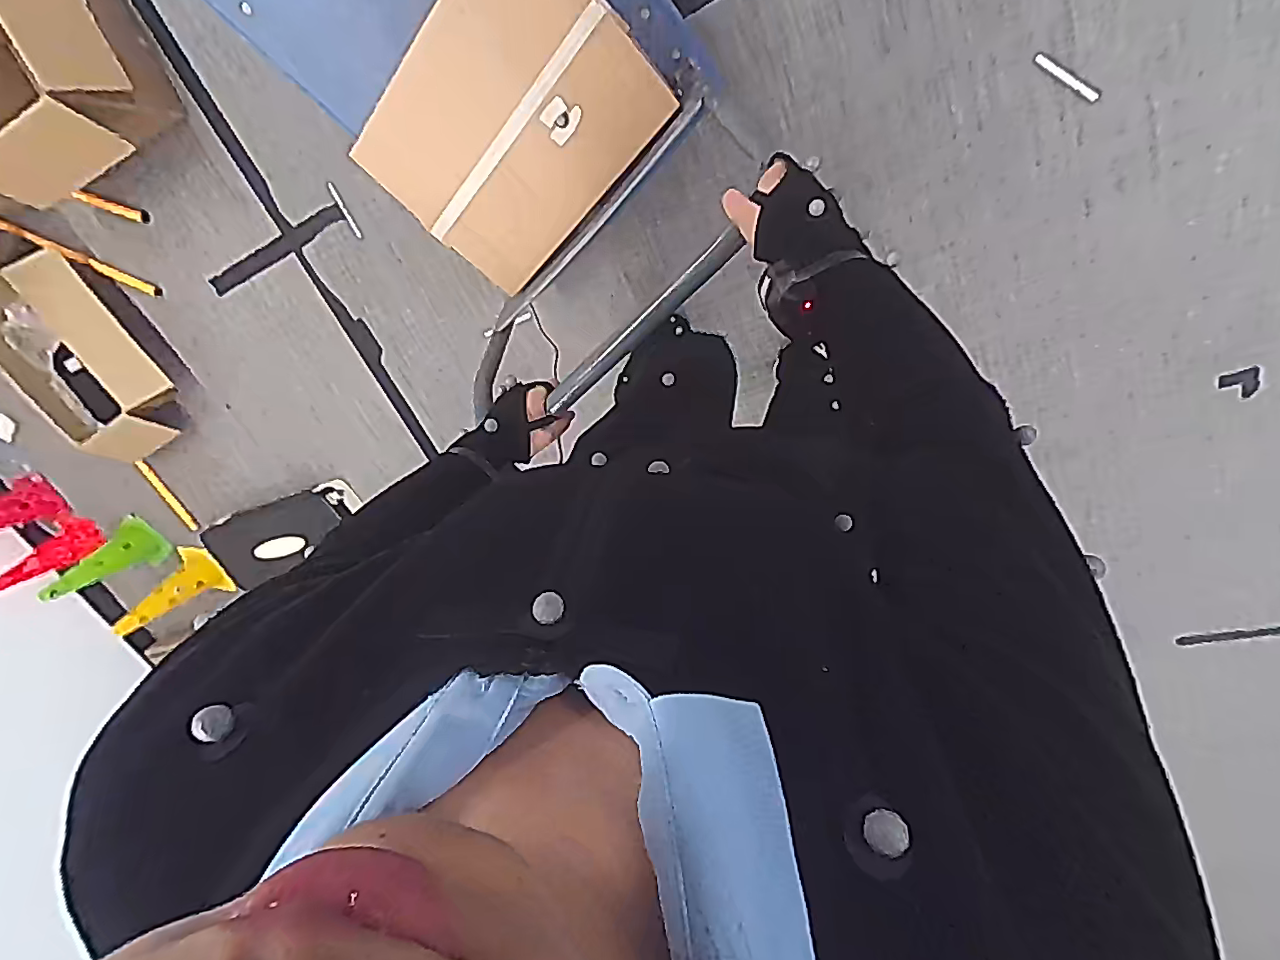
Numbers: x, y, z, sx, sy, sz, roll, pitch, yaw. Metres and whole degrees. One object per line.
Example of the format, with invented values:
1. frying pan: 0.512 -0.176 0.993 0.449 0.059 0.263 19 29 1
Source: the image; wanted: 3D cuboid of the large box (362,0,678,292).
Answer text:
1. large box: -0.186 -0.615 0.925 0.320 0.320 0.408 37 119 -26
